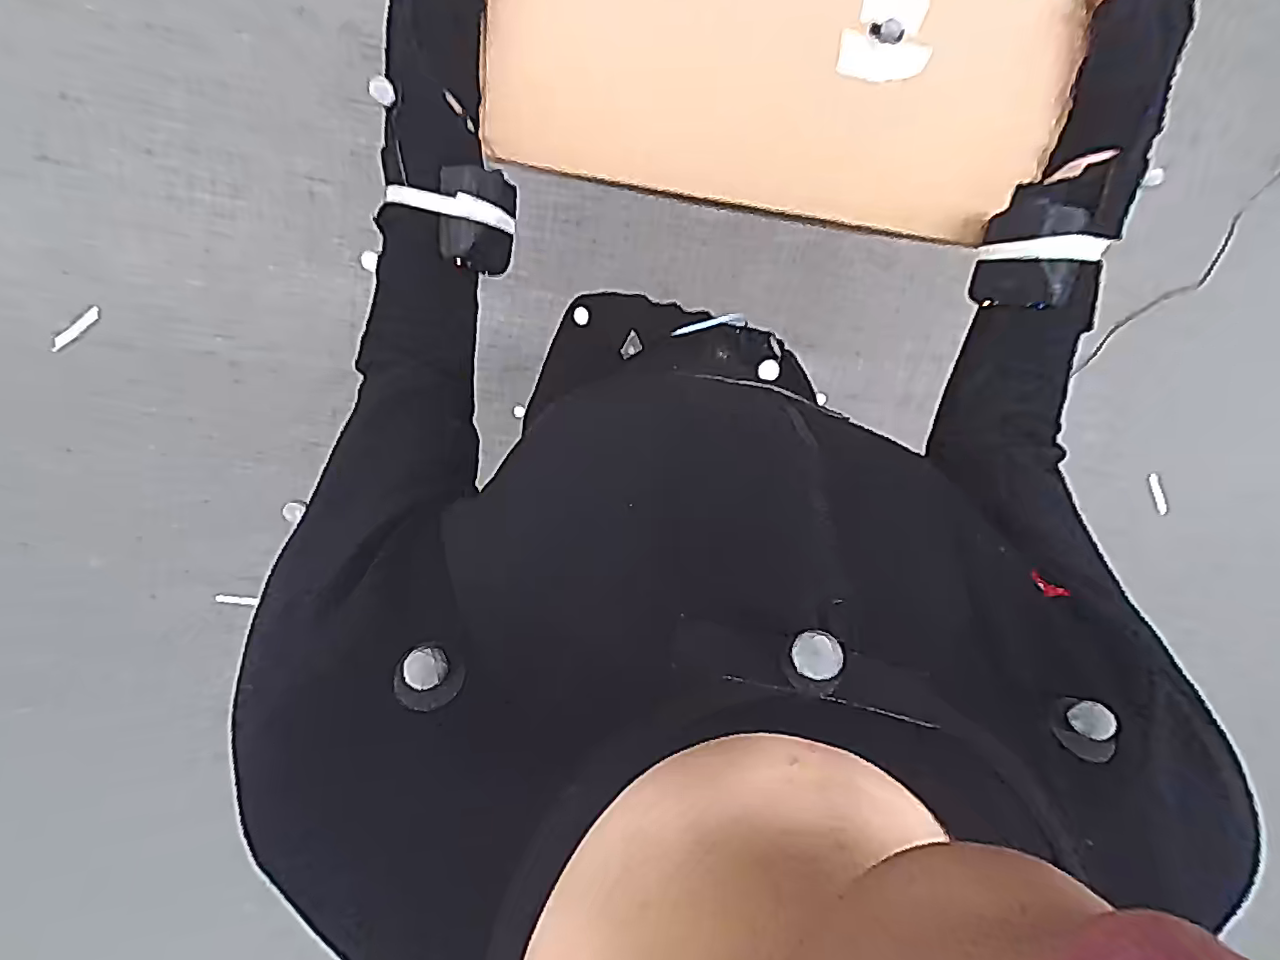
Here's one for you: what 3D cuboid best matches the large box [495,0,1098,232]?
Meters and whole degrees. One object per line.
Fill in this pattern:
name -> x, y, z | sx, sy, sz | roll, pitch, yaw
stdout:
large box -> 0.112, -0.423, 0.477 | 0.408, 0.320, 0.320 | 9, 118, -3
